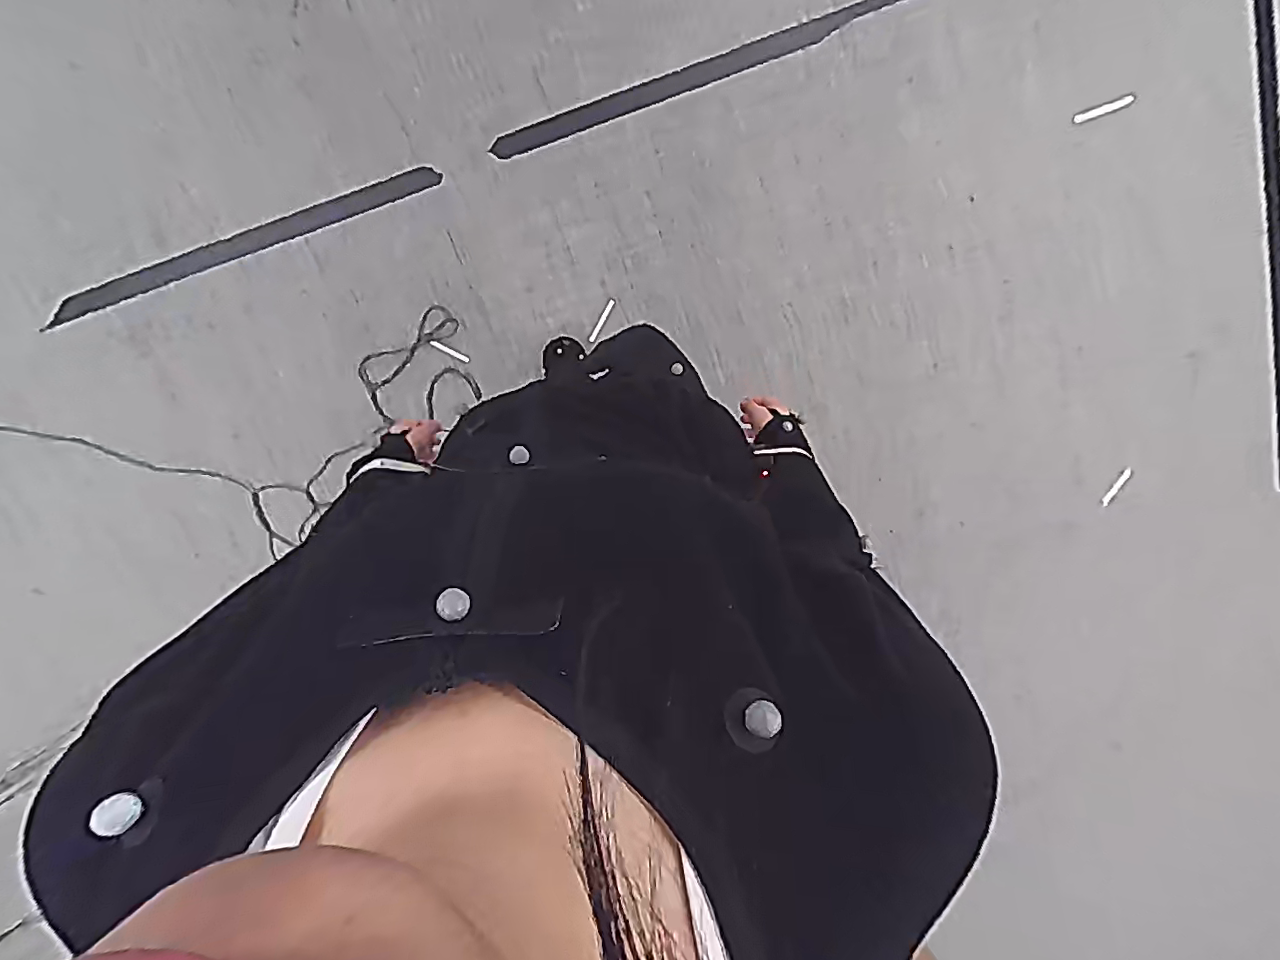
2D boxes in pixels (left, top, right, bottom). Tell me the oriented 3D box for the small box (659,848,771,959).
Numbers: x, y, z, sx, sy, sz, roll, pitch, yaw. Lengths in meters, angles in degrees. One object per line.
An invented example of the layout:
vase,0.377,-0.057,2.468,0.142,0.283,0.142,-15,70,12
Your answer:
small box,0.142,0.847,1.034,0.168,0.176,0.179,-18,104,0

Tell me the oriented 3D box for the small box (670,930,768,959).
small box,0.156,0.891,0.875,0.168,0.176,0.179,-19,104,0
